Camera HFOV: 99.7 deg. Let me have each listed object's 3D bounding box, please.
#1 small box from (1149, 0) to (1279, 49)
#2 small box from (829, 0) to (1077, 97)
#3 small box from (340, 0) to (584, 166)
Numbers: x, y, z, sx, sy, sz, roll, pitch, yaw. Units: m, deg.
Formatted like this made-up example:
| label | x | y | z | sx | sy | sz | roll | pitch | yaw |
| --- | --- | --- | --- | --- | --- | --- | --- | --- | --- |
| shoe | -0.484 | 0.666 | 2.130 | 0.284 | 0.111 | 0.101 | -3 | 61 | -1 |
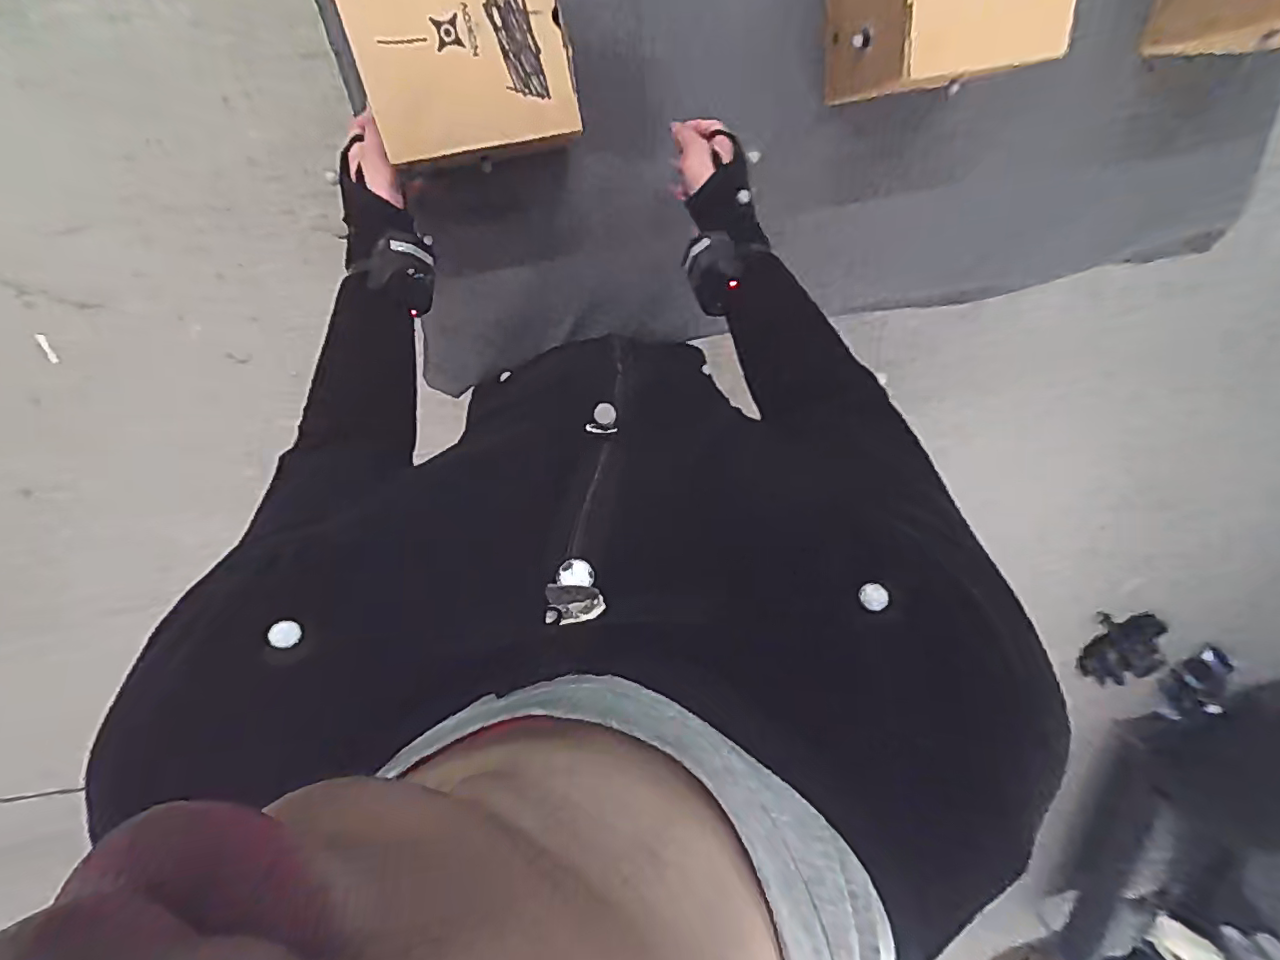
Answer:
| label | x | y | z | sx | sy | sz | roll | pitch | yaw |
| --- | --- | --- | --- | --- | --- | --- | --- | --- | --- |
| small box | 0.740 | -0.599 | 0.601 | 0.179 | 0.176 | 0.168 | -7 | 120 | -8 |
| small box | 0.313 | -0.515 | 0.559 | 0.179 | 0.176 | 0.168 | -14 | 121 | -6 |
| small box | -0.161 | -0.405 | 0.511 | 0.179 | 0.176 | 0.168 | -13 | 119 | -5 |
